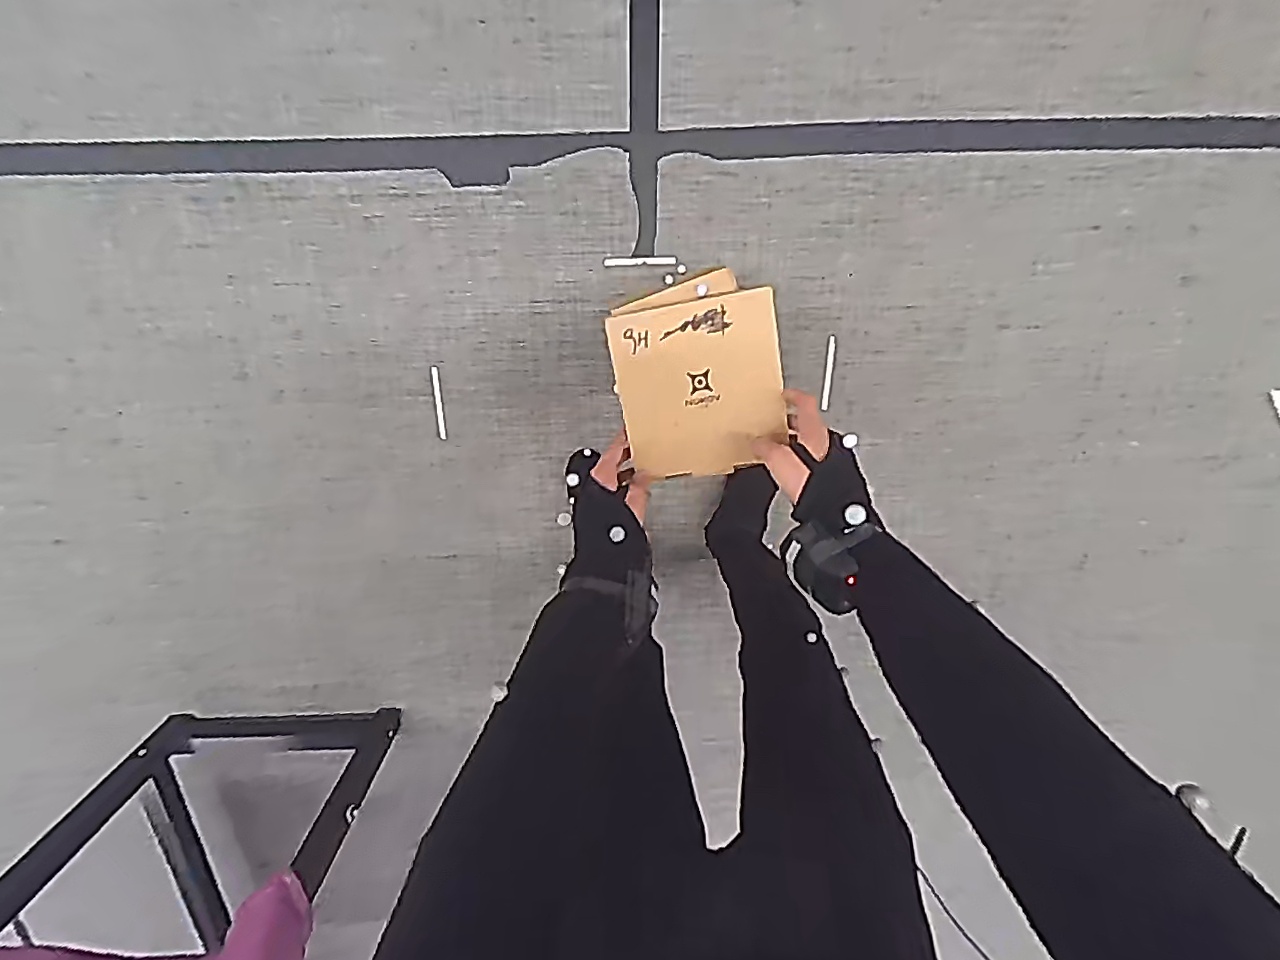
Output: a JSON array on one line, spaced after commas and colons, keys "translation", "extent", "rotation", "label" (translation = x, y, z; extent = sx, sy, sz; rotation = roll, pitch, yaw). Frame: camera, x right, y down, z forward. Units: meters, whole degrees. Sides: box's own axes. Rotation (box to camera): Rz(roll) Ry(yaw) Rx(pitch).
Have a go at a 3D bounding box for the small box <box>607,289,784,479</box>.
[{"translation": [0.064, -0.119, 0.629], "extent": [0.168, 0.176, 0.179], "rotation": [-9, 108, 5], "label": "small box"}]
